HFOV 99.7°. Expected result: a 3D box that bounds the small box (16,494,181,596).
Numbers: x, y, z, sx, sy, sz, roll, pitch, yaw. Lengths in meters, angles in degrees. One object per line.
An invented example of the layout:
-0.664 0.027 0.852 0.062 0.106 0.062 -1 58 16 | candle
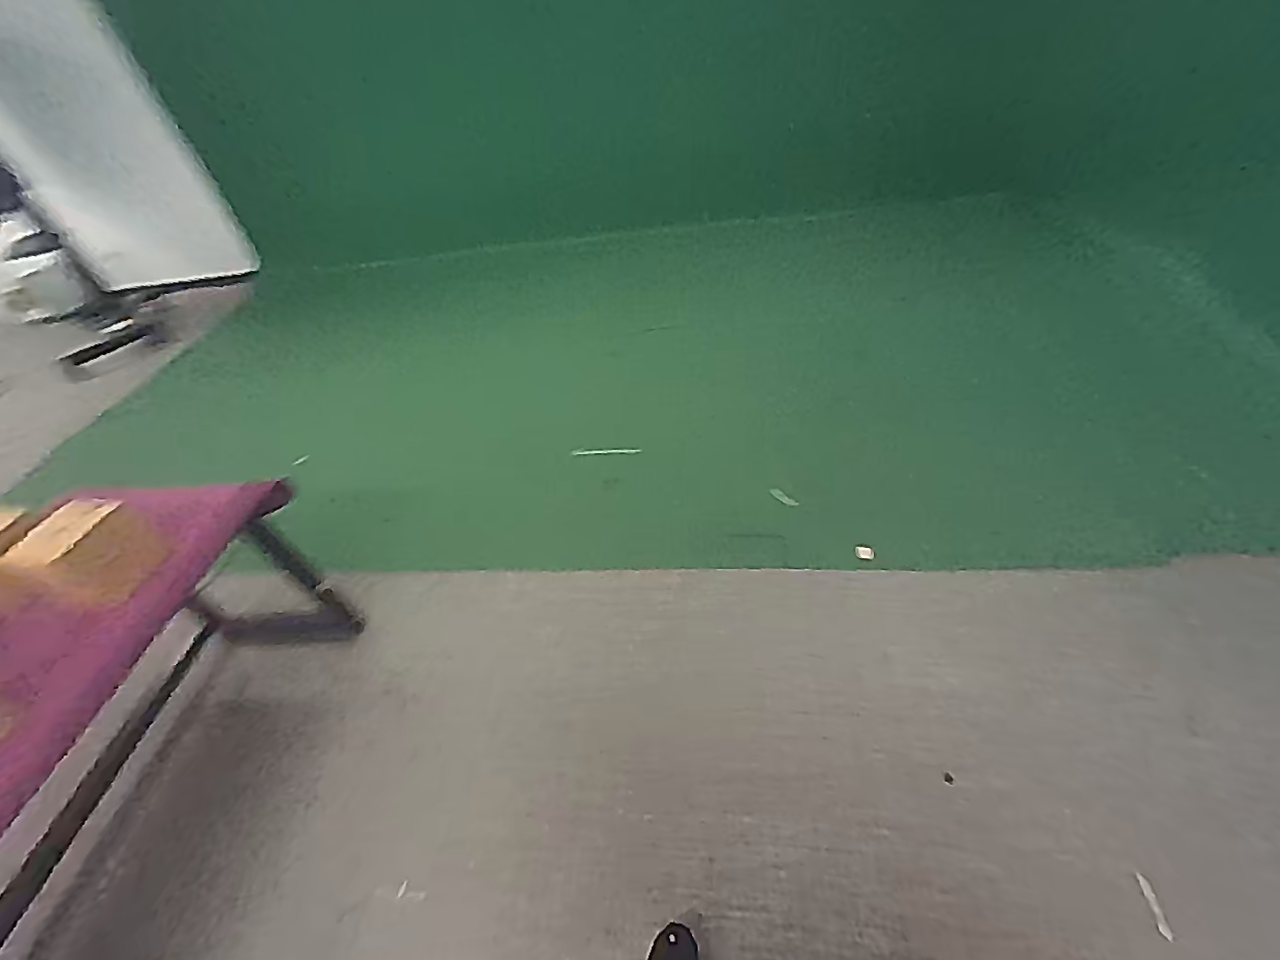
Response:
-1.246 0.153 1.262 0.168 0.176 0.179 1 47 14 | small box

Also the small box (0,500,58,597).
-1.514 0.167 1.306 0.179 0.176 0.168 2 46 14 | small box
